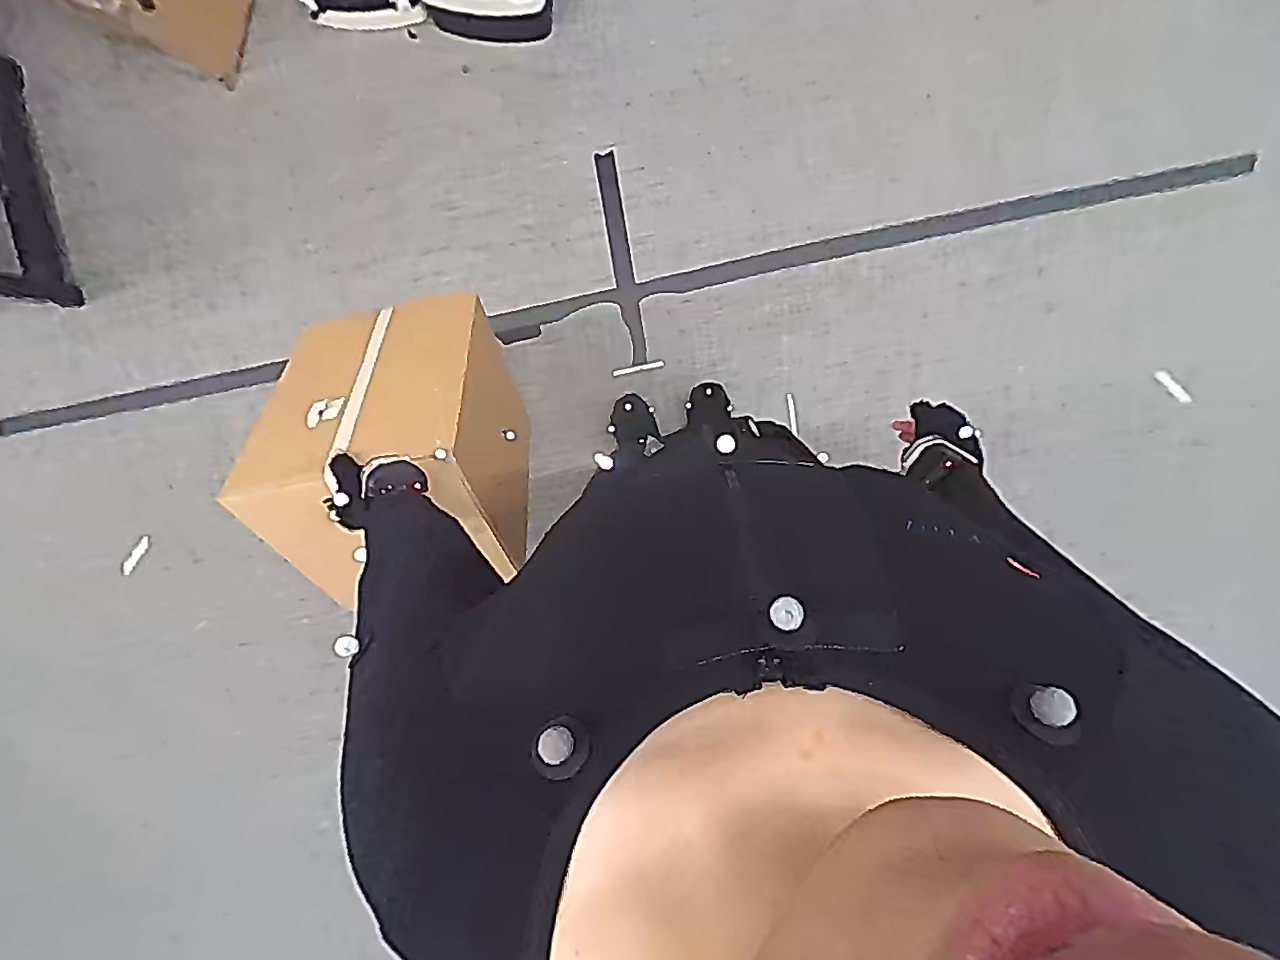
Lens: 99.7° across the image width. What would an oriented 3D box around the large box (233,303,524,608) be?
[{"bbox_3d":[-0.393,-0.046,0.945,0.320,0.408,0.320,-12,139,2],"label":"large box"}]
